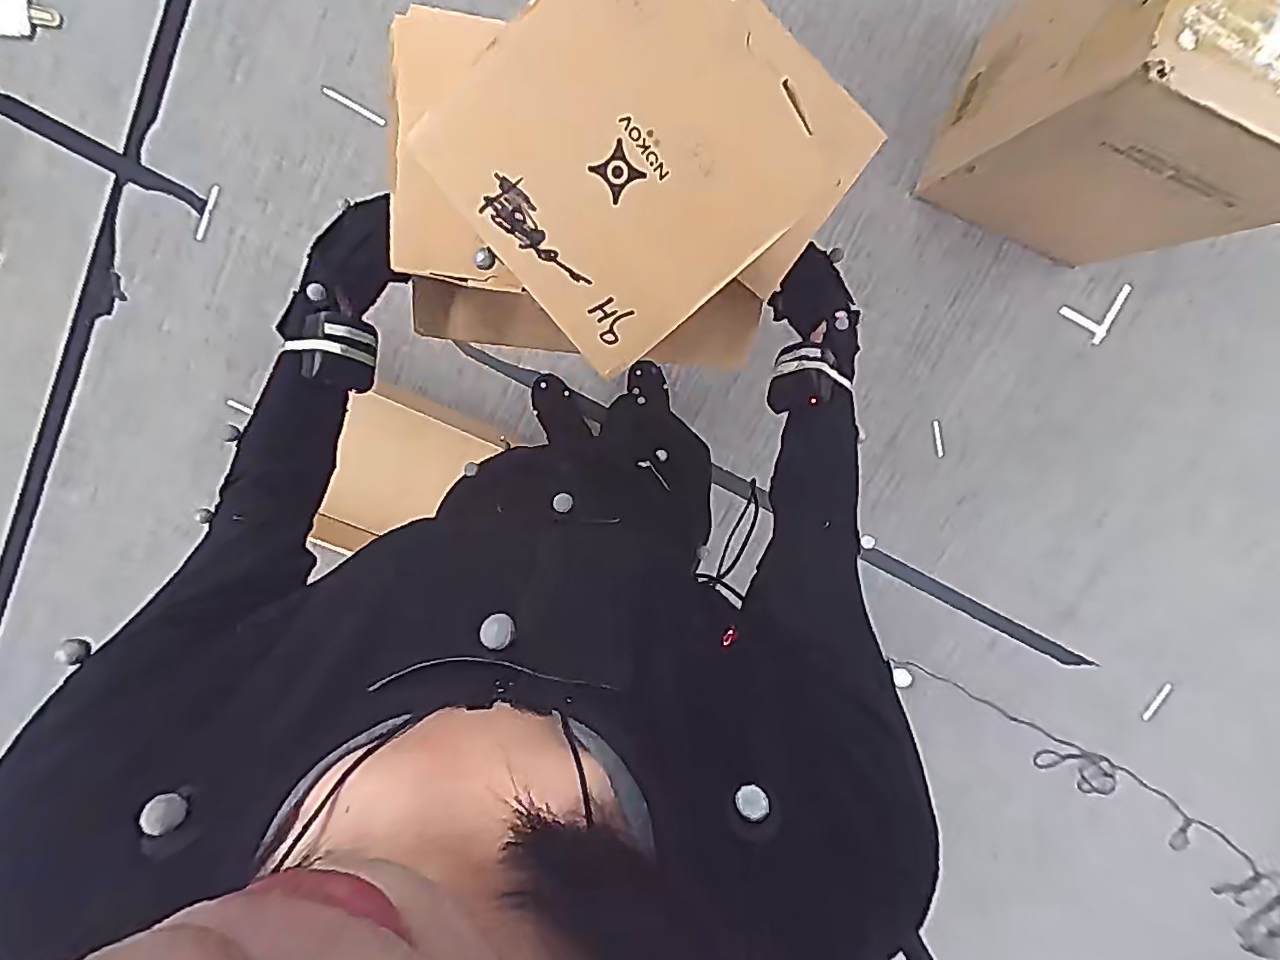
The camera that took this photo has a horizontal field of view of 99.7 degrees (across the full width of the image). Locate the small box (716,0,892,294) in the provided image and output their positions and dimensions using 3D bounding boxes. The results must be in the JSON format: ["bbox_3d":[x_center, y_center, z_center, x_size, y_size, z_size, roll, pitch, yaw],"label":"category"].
[{"bbox_3d":[0.081,-0.291,0.507,0.179,0.176,0.168,33,101,-17],"label":"small box"}]

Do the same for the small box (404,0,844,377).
[{"bbox_3d":[-0.012,-0.197,0.354,0.179,0.176,0.168,-39,110,8],"label":"small box"}]

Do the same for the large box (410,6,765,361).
[{"bbox_3d":[-0.060,-0.347,0.730,0.408,0.320,0.320,3,109,-9],"label":"large box"}]
